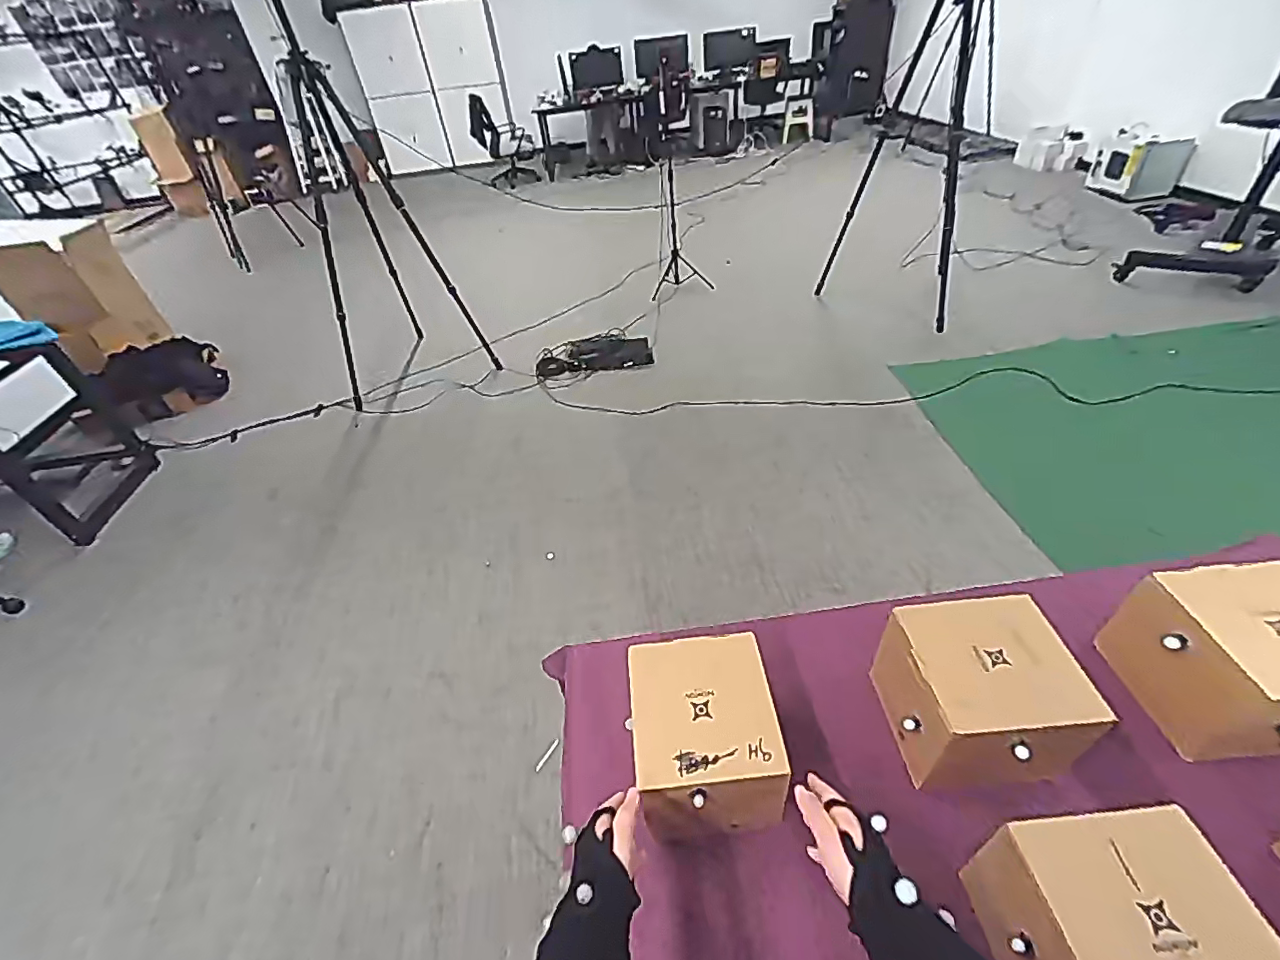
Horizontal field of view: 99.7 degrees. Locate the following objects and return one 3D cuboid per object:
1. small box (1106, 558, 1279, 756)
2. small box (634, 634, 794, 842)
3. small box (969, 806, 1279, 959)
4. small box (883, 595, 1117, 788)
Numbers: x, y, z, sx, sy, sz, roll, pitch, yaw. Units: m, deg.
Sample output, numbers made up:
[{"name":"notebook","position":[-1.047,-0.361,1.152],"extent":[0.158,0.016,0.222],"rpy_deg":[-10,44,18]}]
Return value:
[{"name":"small box","position":[0.750,0.224,0.673],"extent":[0.168,0.176,0.179],"rpy_deg":[-7,40,3]},{"name":"small box","position":[0.084,0.323,0.681],"extent":[0.168,0.176,0.179],"rpy_deg":[-8,40,1]},{"name":"small box","position":[0.440,0.429,0.491],"extent":[0.168,0.176,0.179],"rpy_deg":[-7,39,2]},{"name":"small box","position":[0.425,0.269,0.683],"extent":[0.179,0.176,0.168],"rpy_deg":[-6,41,3]}]
